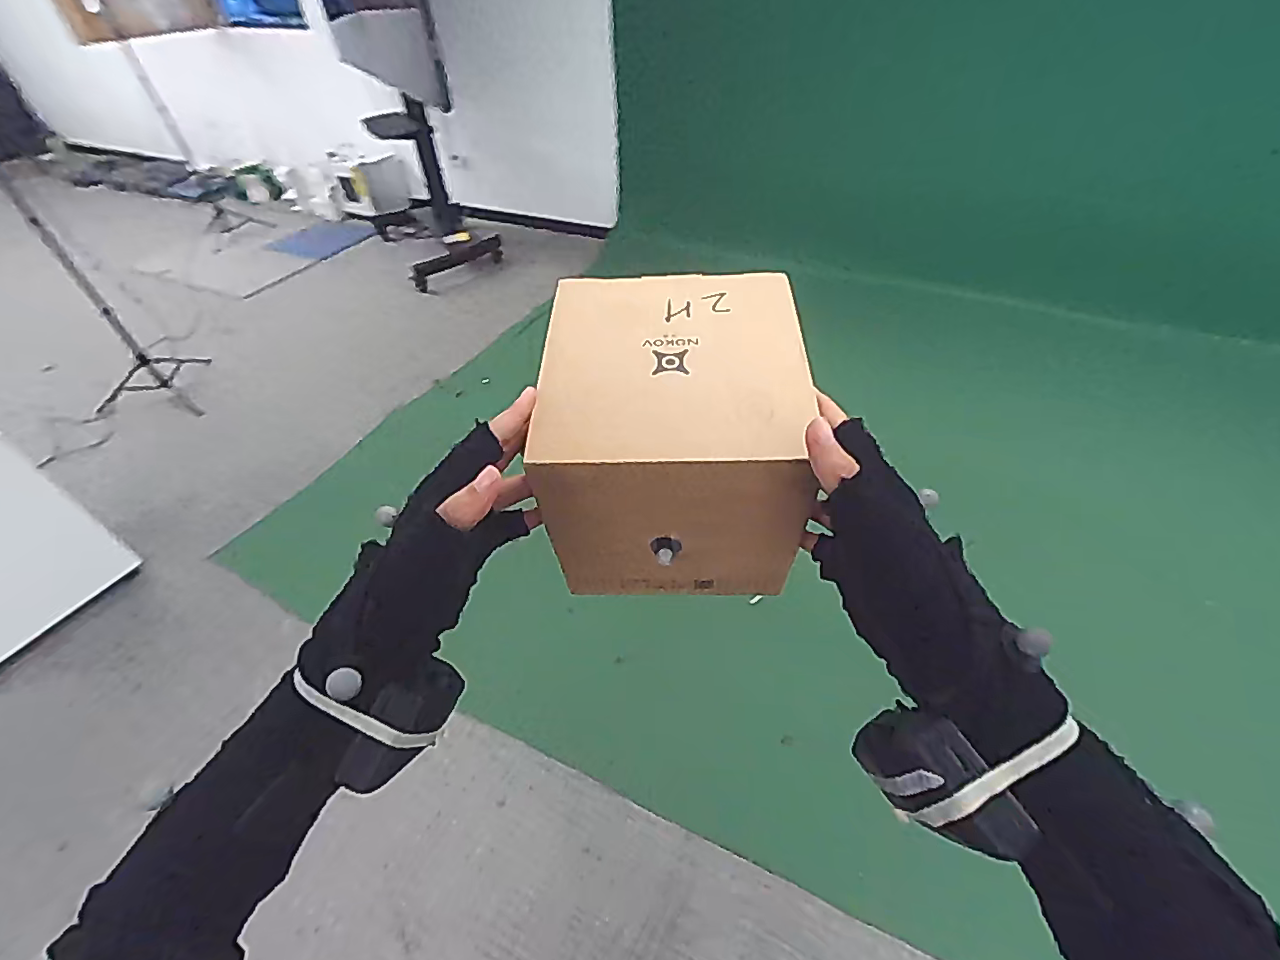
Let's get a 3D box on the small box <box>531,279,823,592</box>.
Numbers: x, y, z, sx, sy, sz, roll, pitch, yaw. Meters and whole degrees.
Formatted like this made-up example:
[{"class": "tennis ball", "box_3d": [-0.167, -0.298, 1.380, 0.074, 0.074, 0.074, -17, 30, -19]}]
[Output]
[{"class": "small box", "box_3d": [0.028, -0.027, 0.408, 0.168, 0.176, 0.179, 0, 53, 4]}]
